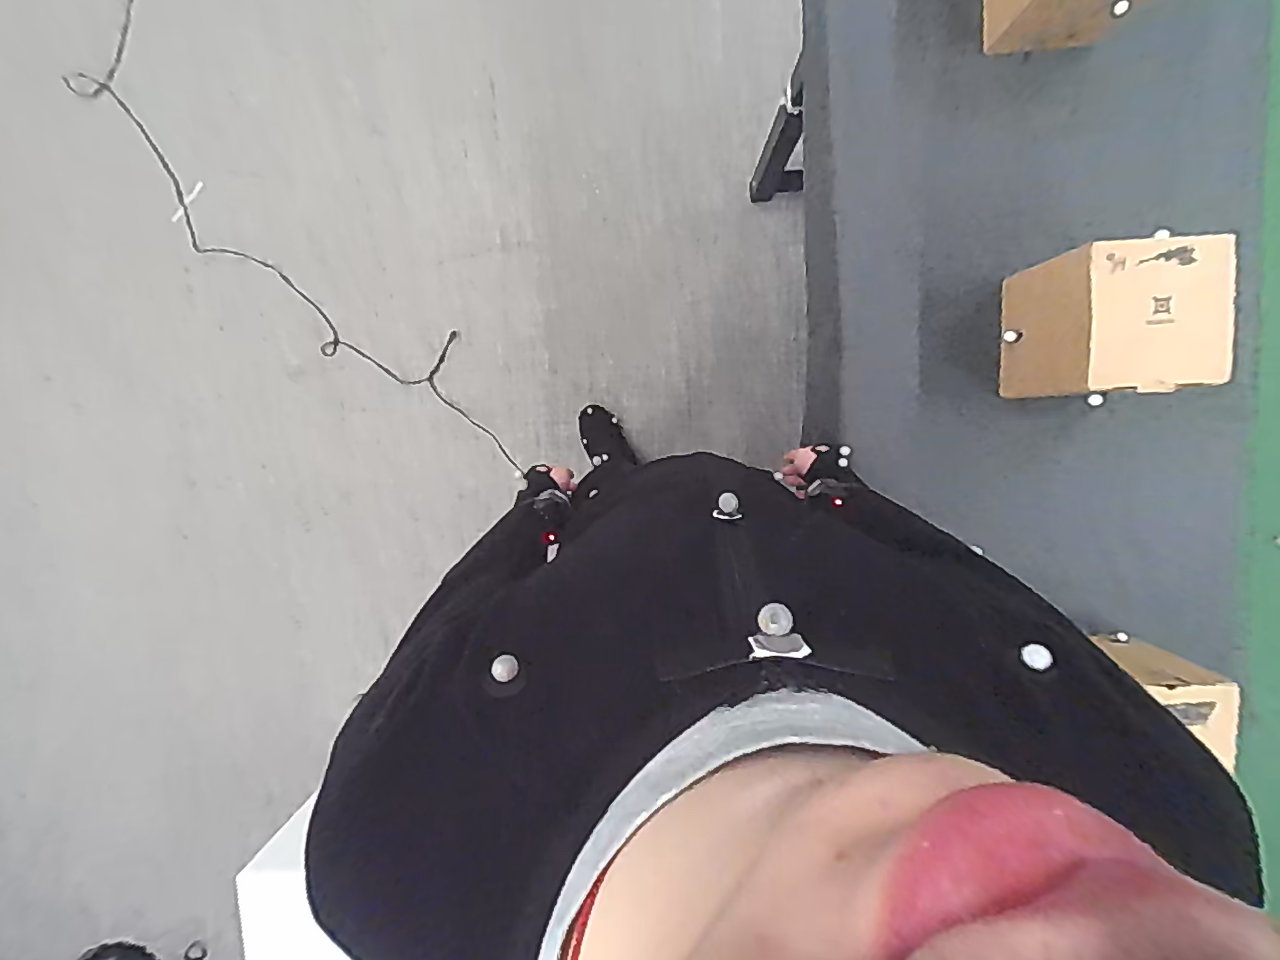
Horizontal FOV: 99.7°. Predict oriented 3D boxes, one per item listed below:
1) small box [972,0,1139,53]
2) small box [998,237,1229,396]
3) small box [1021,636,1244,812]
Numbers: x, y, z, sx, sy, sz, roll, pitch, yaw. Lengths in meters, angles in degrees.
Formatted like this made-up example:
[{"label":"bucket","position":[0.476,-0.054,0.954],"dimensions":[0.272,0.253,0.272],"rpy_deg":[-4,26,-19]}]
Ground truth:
[{"label":"small box","position":[0.549,-0.680,0.683],"dimensions":[0.168,0.176,0.179],"rpy_deg":[-6,94,-2]},{"label":"small box","position":[0.613,-0.204,0.723],"dimensions":[0.168,0.176,0.179],"rpy_deg":[-3,95,-1]},{"label":"small box","position":[0.679,0.329,0.765],"dimensions":[0.168,0.176,0.179],"rpy_deg":[-2,95,-1]}]
